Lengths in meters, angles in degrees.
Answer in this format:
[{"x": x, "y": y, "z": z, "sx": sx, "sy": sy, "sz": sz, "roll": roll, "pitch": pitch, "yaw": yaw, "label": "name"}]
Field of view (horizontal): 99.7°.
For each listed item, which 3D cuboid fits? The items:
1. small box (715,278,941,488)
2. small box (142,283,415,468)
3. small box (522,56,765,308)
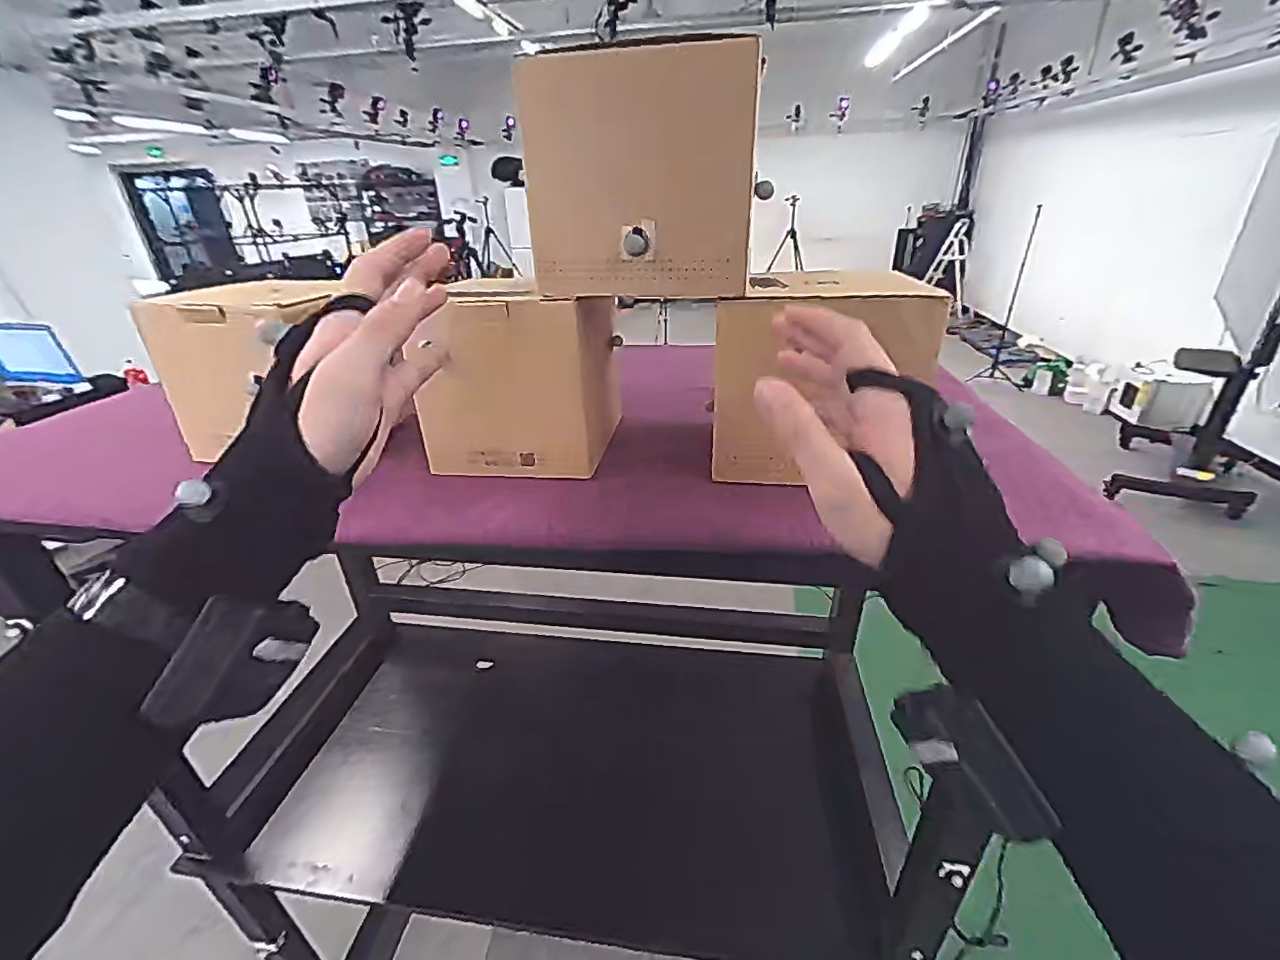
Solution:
[{"x": 0.165, "y": -0.101, "z": 0.536, "sx": 0.179, "sy": 0.176, "sz": 0.168, "roll": 3, "pitch": 27, "yaw": 8, "label": "small box"}, {"x": -0.382, "y": -0.123, "z": 0.613, "sx": 0.168, "sy": 0.176, "sz": 0.179, "roll": 4, "pitch": 27, "yaw": 9, "label": "small box"}, {"x": 0.014, "y": -0.253, "z": 0.484, "sx": 0.179, "sy": 0.176, "sz": 0.168, "roll": 4, "pitch": 27, "yaw": 10, "label": "small box"}]
